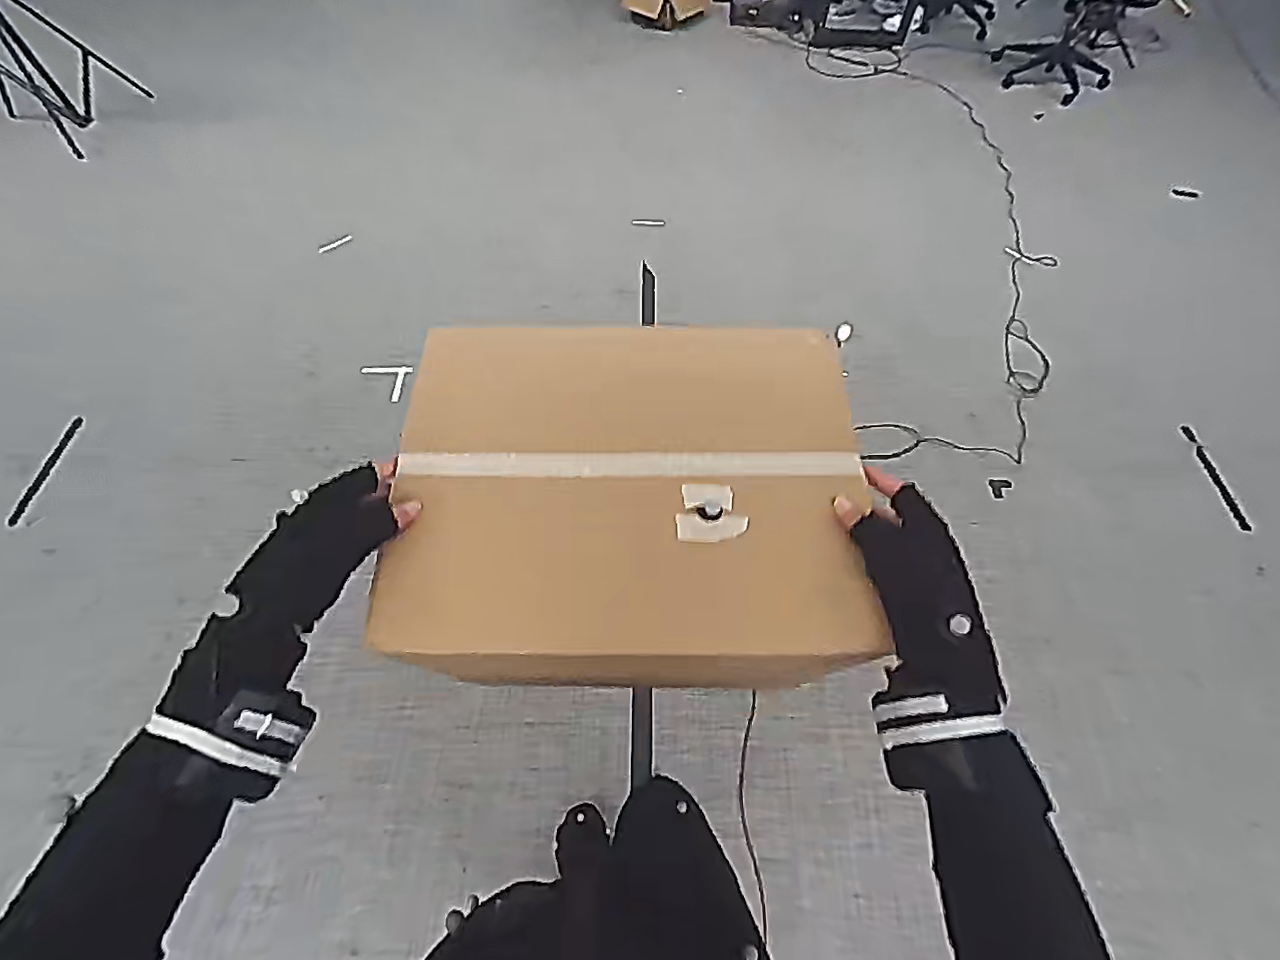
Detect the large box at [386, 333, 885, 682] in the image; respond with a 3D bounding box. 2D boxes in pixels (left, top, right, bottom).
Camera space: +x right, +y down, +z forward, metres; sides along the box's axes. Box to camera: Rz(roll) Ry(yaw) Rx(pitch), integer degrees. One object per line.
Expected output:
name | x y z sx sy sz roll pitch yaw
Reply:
large box | -0.007 0.052 0.620 0.408 0.320 0.320 0 65 -1
